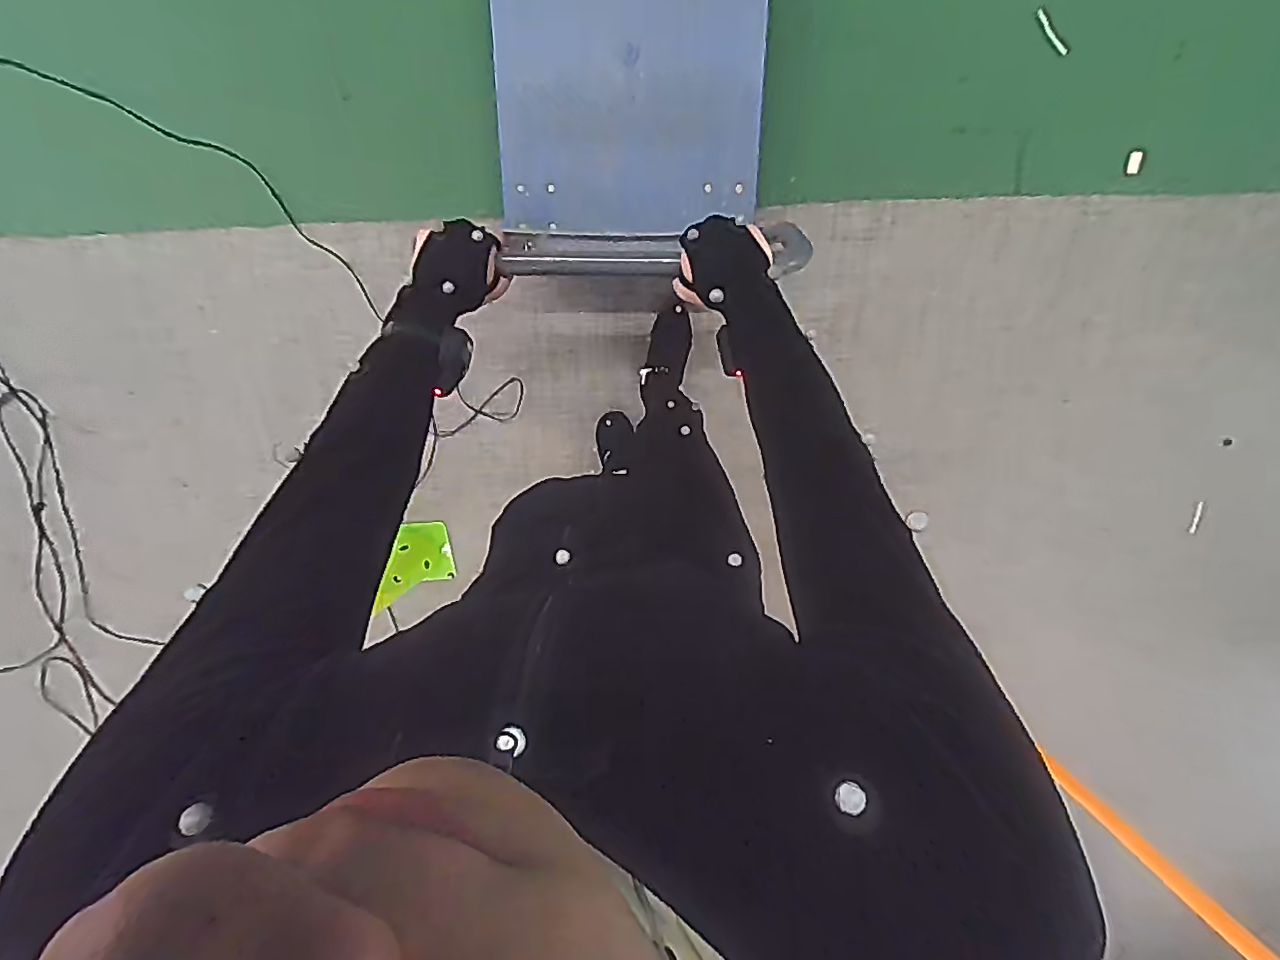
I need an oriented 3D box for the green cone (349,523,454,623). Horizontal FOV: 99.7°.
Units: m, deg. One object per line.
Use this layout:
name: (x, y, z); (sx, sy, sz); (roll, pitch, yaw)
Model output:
green cone: (-0.707, 0.287, 1.545); (0.202, 0.368, 0.200); (-4, 108, 5)
